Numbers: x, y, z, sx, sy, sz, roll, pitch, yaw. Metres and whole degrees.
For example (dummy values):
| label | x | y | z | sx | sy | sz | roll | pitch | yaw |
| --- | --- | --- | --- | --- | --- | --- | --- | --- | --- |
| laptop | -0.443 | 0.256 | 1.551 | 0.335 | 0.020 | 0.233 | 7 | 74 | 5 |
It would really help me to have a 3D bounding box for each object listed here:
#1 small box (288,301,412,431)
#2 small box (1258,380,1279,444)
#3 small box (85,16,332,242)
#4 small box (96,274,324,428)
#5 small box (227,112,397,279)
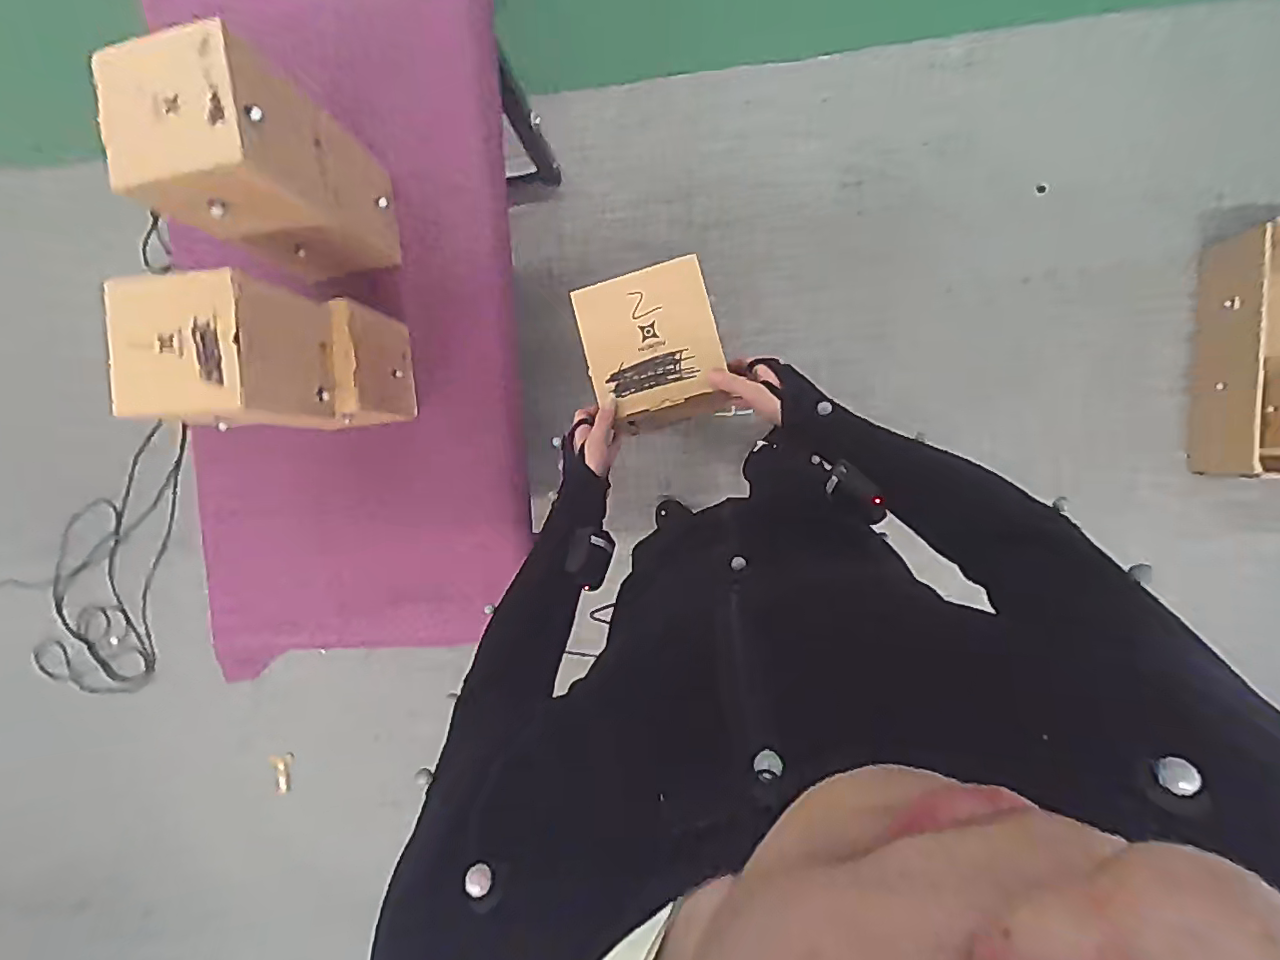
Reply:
| label | x | y | z | sx | sy | sz | roll | pitch | yaw |
| --- | --- | --- | --- | --- | --- | --- | --- | --- | --- |
| small box | -0.498 | -0.173 | 0.872 | 0.179 | 0.176 | 0.168 | -7 | 91 | 6 |
| small box | 1.681 | -0.172 | 1.308 | 0.179 | 0.176 | 0.168 | 0 | 91 | 6 |
| small box | -0.541 | -0.432 | 0.699 | 0.179 | 0.176 | 0.168 | -9 | 92 | 8 |
| small box | -0.546 | -0.158 | 0.712 | 0.179 | 0.176 | 0.168 | -2 | 92 | 7 |
| small box | -0.522 | -0.437 | 0.862 | 0.179 | 0.176 | 0.168 | -8 | 91 | 7 |
